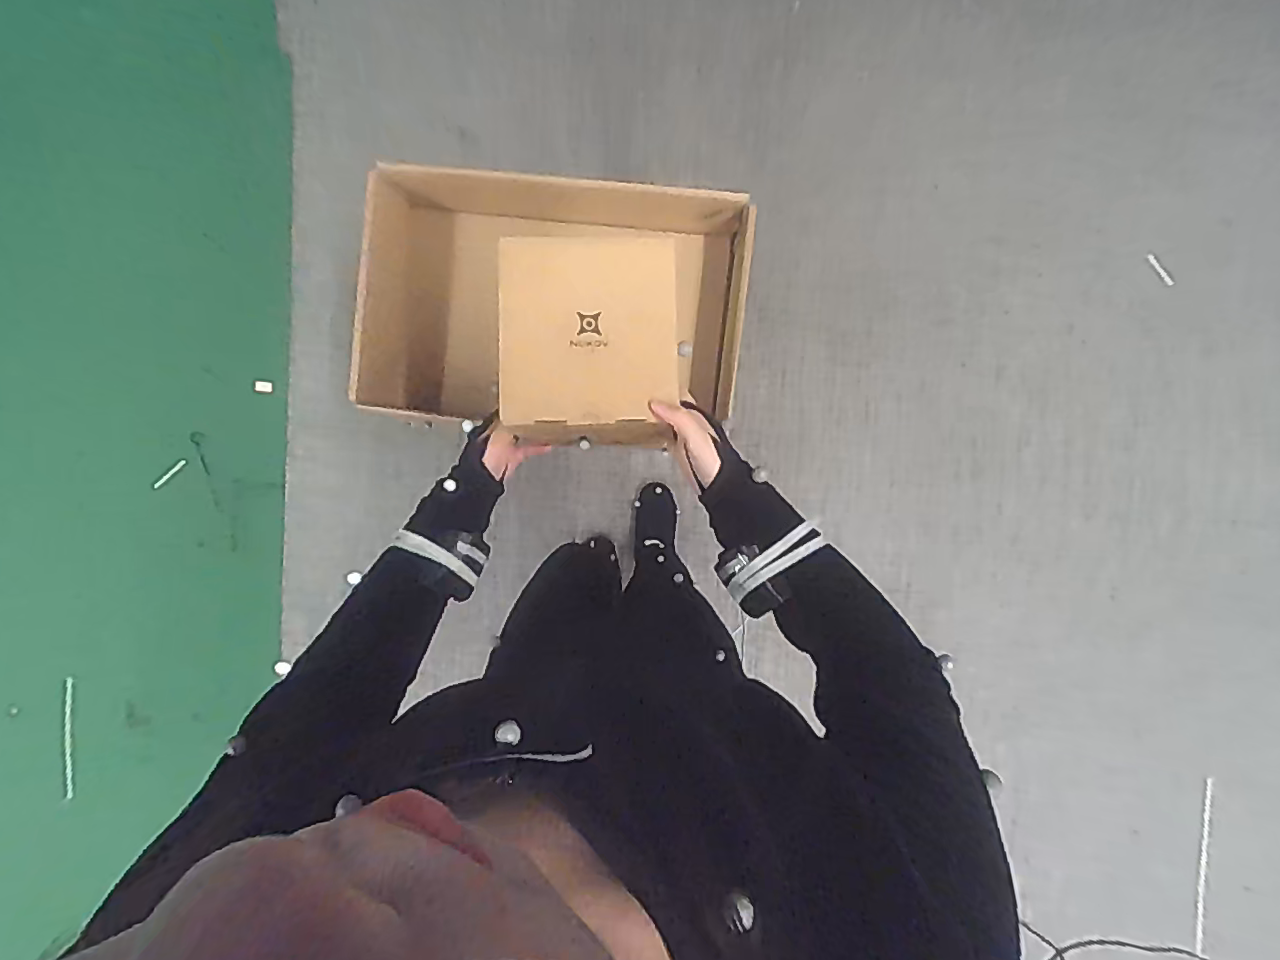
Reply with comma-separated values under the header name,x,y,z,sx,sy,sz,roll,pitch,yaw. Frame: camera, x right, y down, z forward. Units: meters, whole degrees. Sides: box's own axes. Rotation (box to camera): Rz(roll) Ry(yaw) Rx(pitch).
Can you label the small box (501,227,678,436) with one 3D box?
name,x,y,z,sx,sy,sz,roll,pitch,yaw
small box,-0.050,-0.146,0.583,0.168,0.176,0.179,-1,87,-2
